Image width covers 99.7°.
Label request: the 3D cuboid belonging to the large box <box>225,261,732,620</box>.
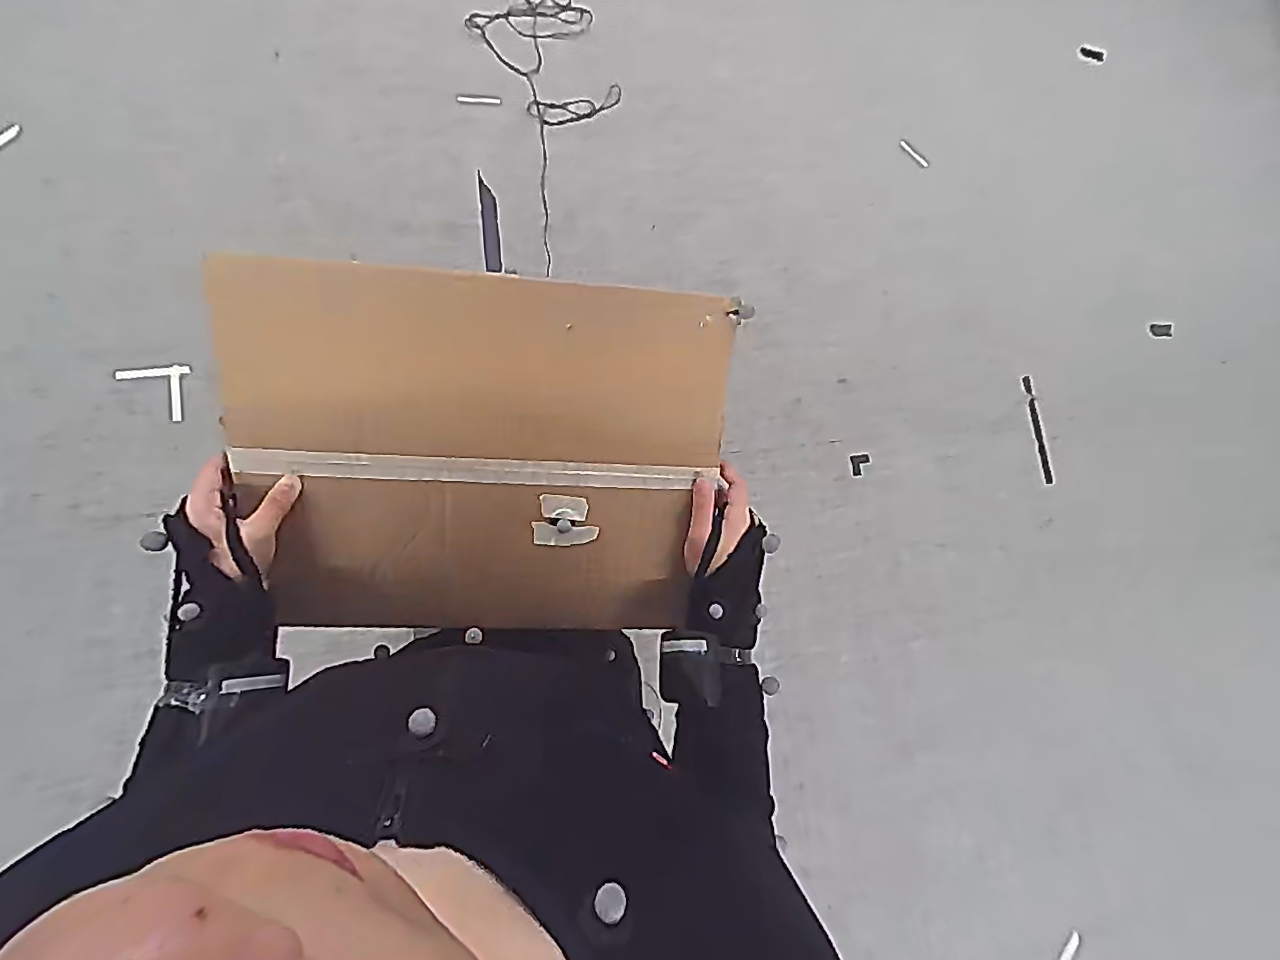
[{"bbox_3d":[-0.146,-0.060,0.616,0.408,0.320,0.320,1,109,-8],"label":"large box"}]
